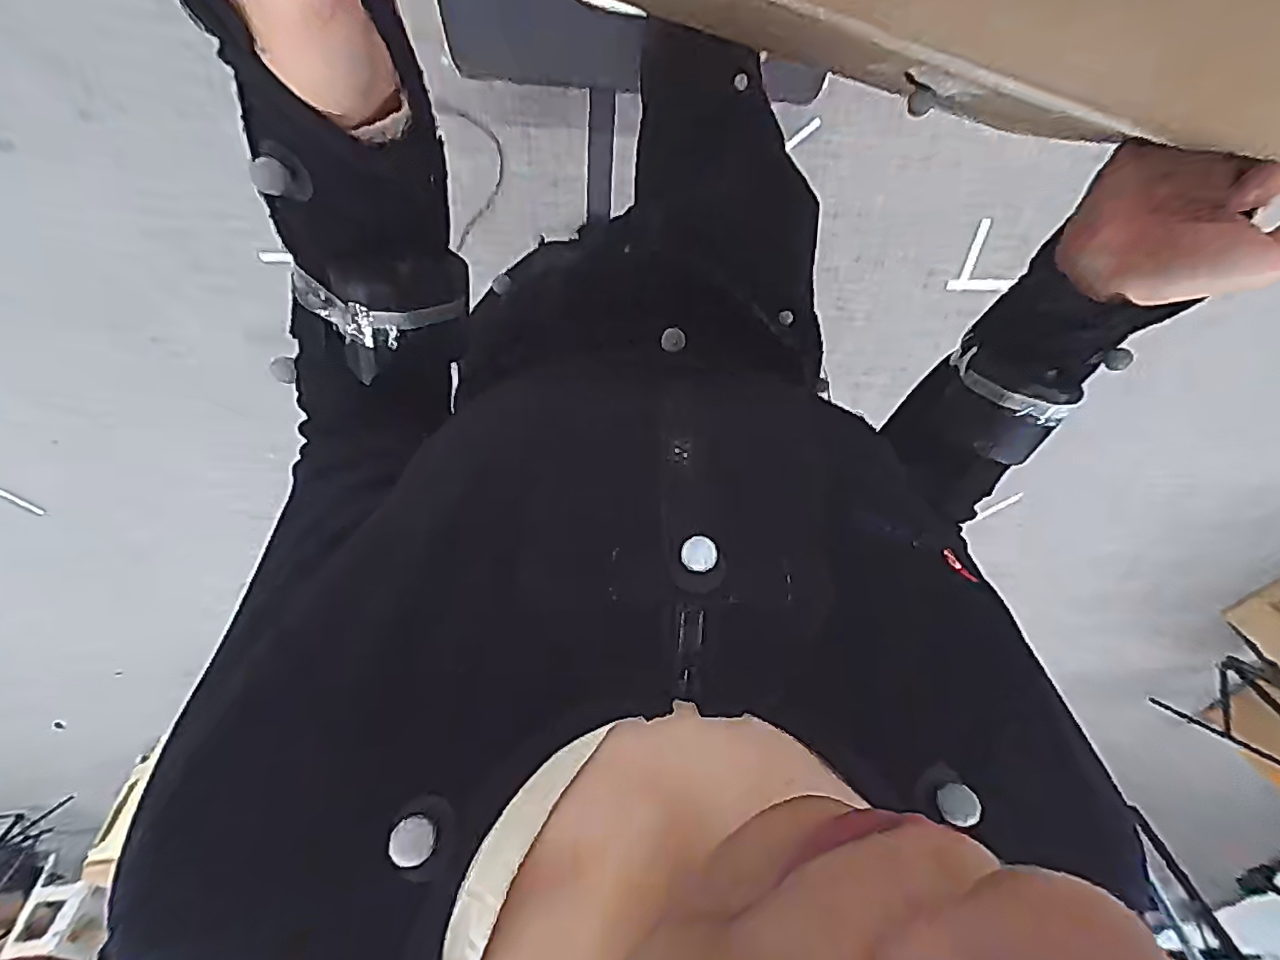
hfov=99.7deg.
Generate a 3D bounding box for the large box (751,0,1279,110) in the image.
[{"bbox_3d":[0.122,-0.313,0.112,0.408,0.320,0.320,5,126,-15],"label":"large box"}]
